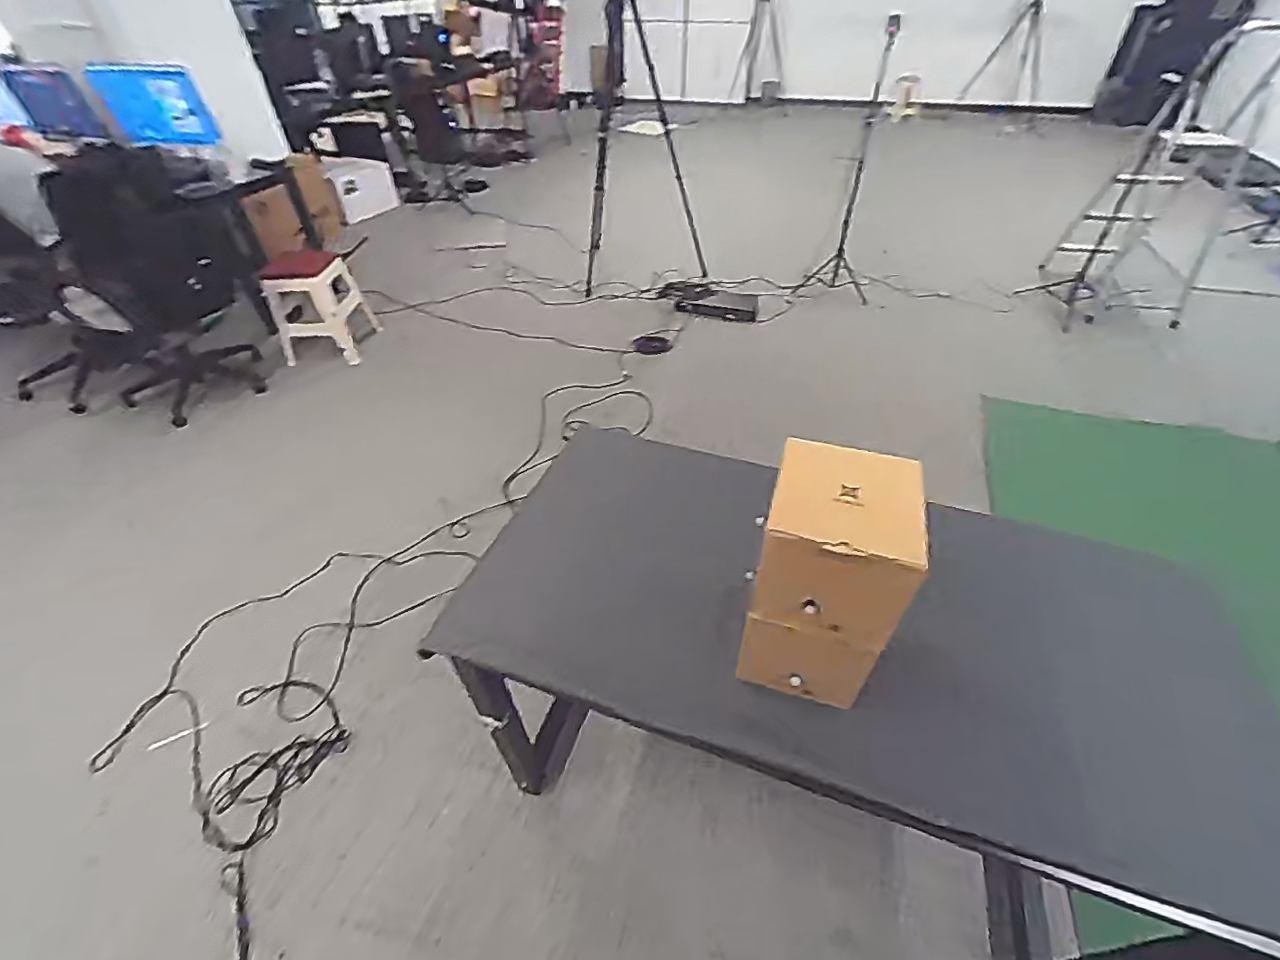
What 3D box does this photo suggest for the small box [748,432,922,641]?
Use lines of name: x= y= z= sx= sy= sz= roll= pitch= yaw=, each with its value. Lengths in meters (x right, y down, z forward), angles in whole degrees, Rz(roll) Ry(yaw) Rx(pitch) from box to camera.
small box: x=0.238 y=0.069 z=0.683 sx=0.168 sy=0.176 sz=0.179 roll=12 pitch=45 yaw=14

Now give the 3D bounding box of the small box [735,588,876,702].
small box: x=0.240 y=0.188 z=0.793 sx=0.168 sy=0.176 sz=0.179 roll=12 pitch=44 yaw=14
